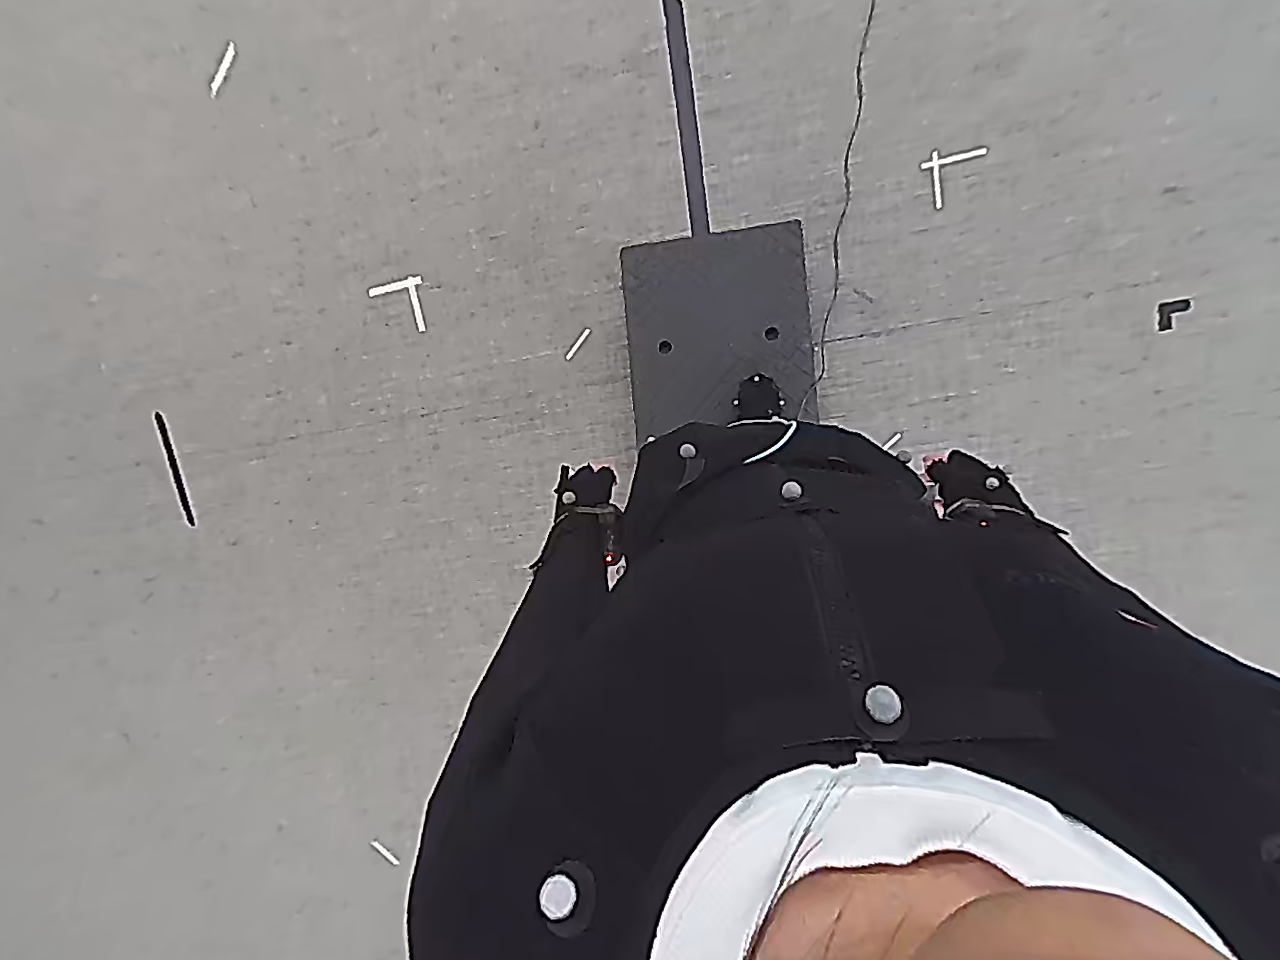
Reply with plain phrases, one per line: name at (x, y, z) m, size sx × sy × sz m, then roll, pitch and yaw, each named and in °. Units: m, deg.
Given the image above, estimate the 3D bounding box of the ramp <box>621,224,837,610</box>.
ramp at (0.225, -0.161, 1.454) m, size 0.509 × 0.206 × 0.991 m, roll -7°, pitch 98°, yaw 10°
